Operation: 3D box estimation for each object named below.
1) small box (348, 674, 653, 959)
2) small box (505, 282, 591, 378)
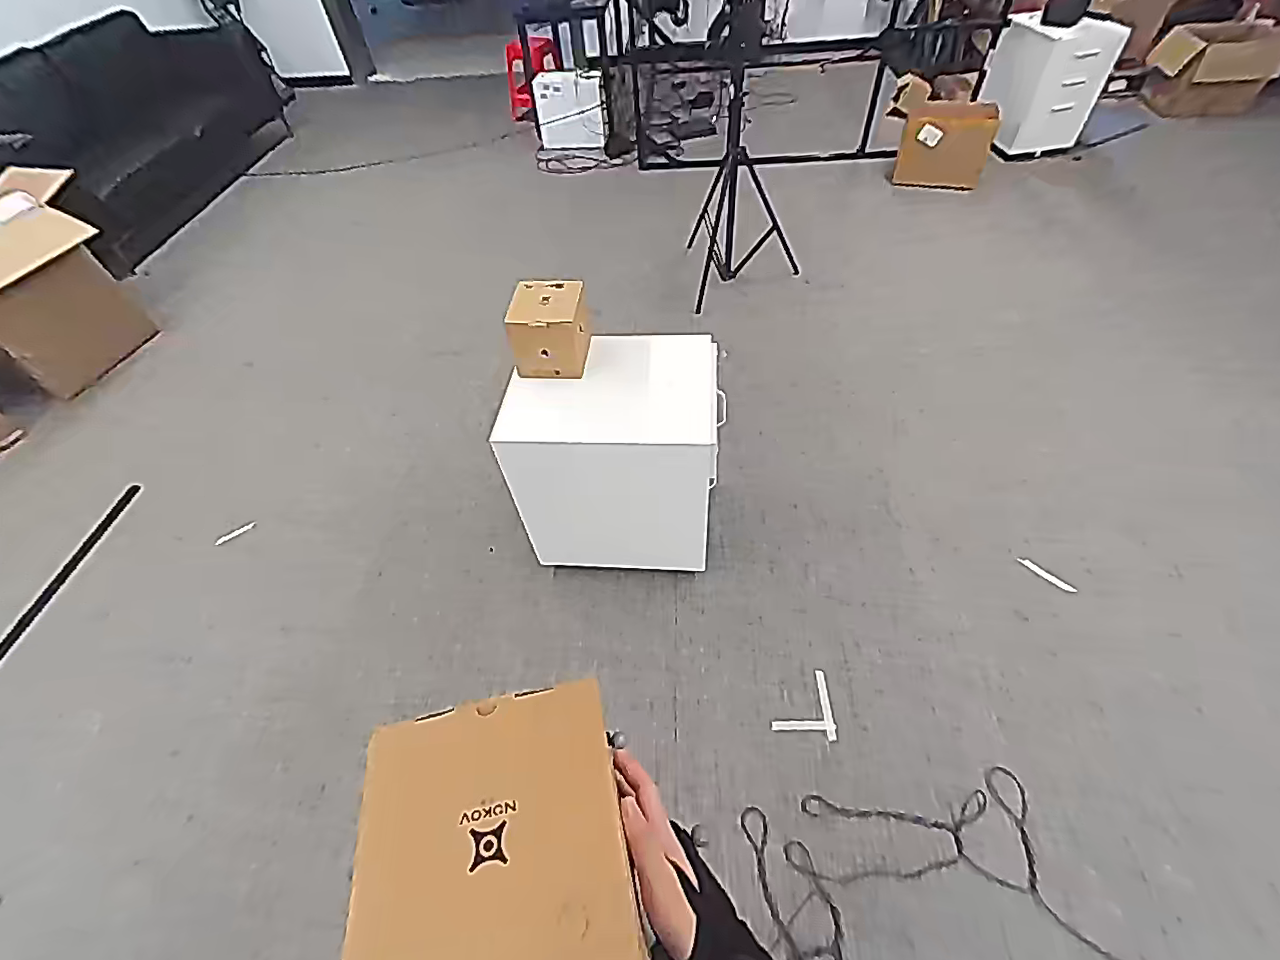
[{"bbox_3d":[-0.089,0.278,0.401,0.168,0.176,0.179,-11,45,-7],"label":"small box"},{"bbox_3d":[-0.221,-0.373,1.356,0.168,0.176,0.179,2,53,5],"label":"small box"}]
